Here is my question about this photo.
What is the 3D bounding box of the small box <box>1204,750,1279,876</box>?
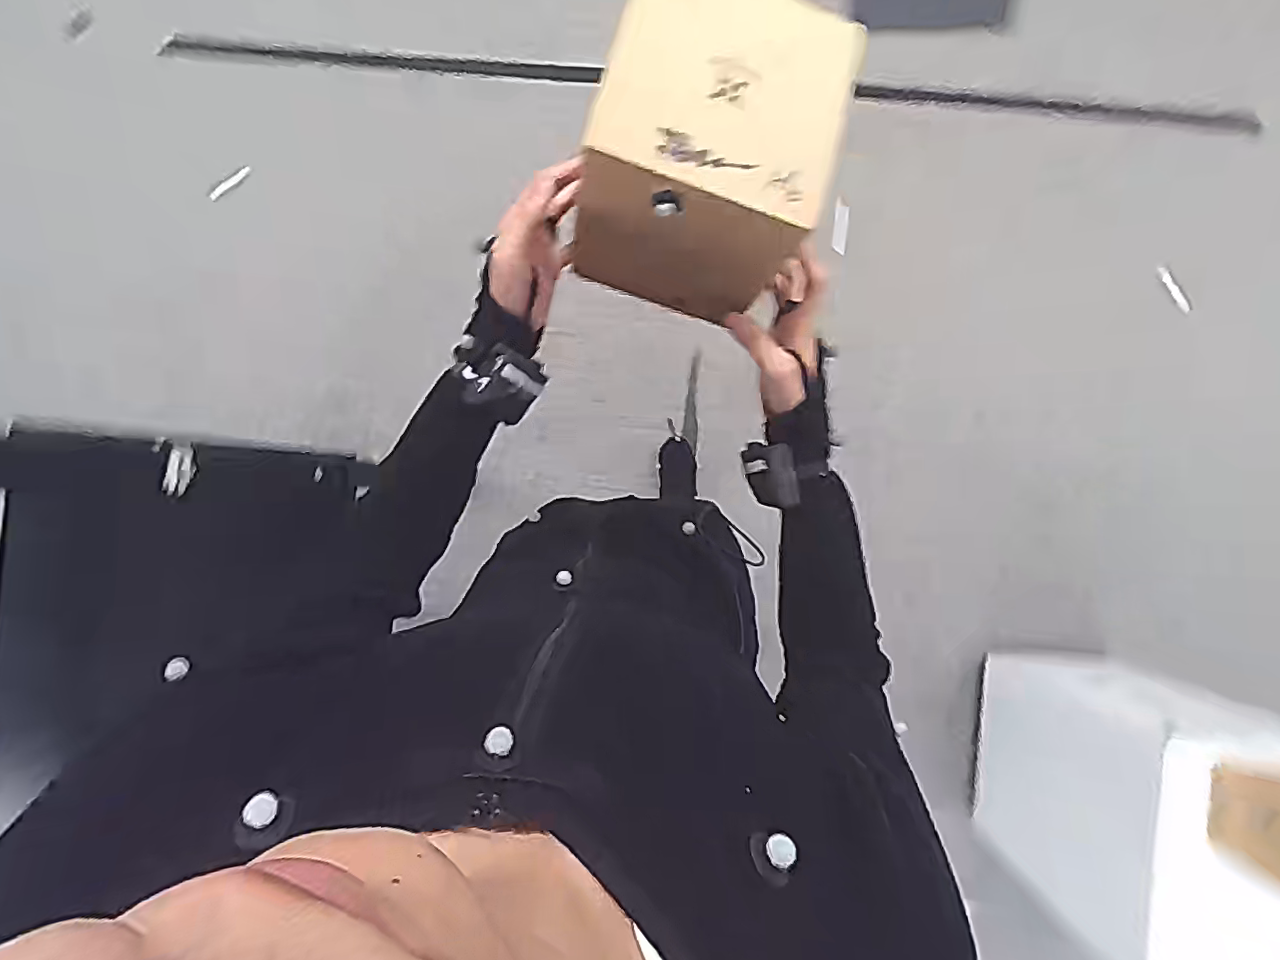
[{"bbox_3d":[1.167,0.601,0.956,0.179,0.176,0.168,5,90,0],"label":"small box"}]

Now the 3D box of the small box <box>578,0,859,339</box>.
[{"bbox_3d":[0.051,-0.250,0.455,0.168,0.176,0.179,18,78,-8],"label":"small box"}]
